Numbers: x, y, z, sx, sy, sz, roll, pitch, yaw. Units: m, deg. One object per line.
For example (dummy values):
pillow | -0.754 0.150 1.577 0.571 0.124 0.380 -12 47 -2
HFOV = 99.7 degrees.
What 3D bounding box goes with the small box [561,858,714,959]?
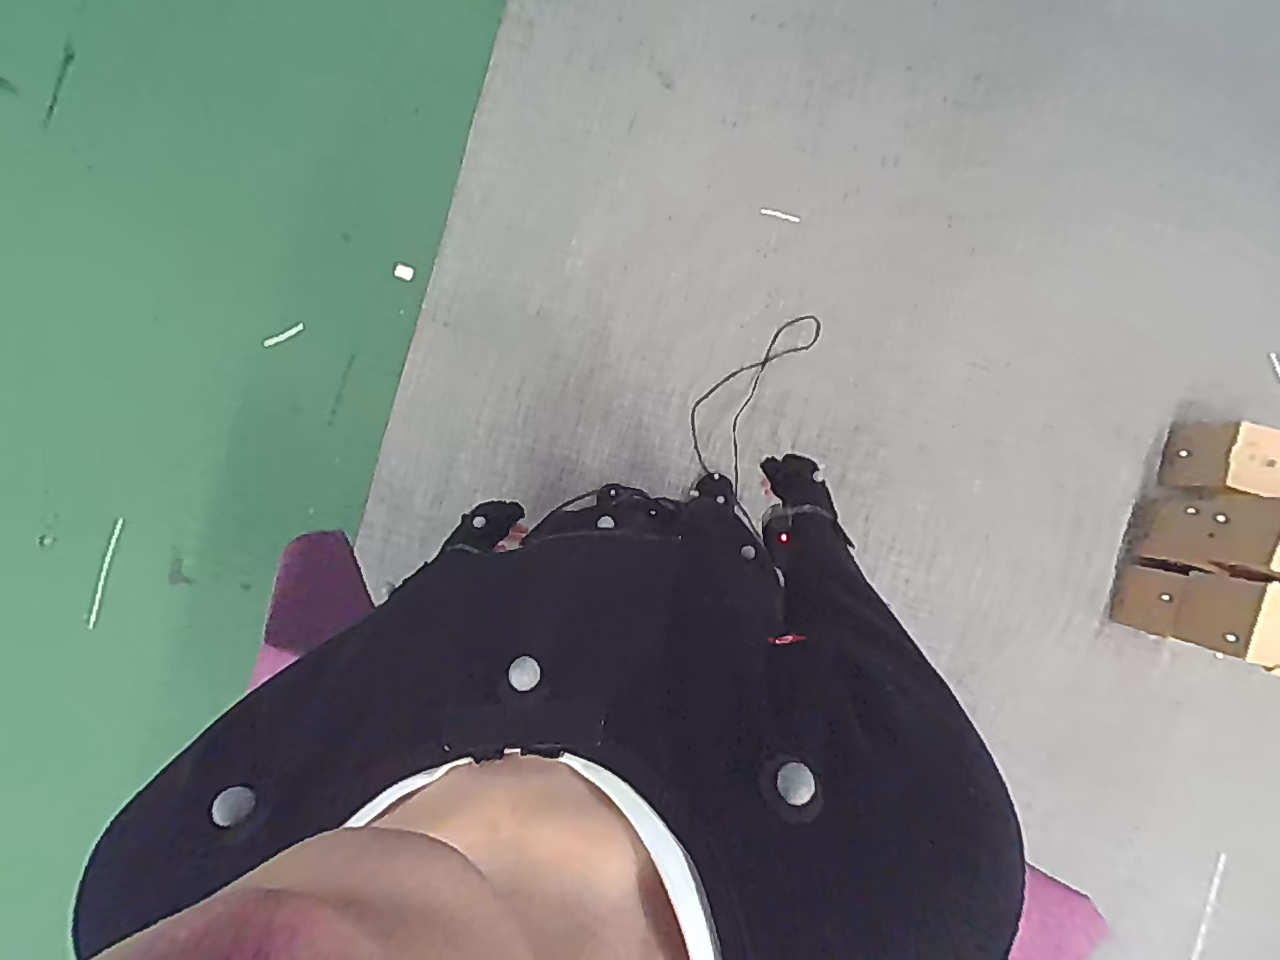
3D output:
small box | -0.013 0.629 0.680 0.168 0.176 0.179 18 91 0
